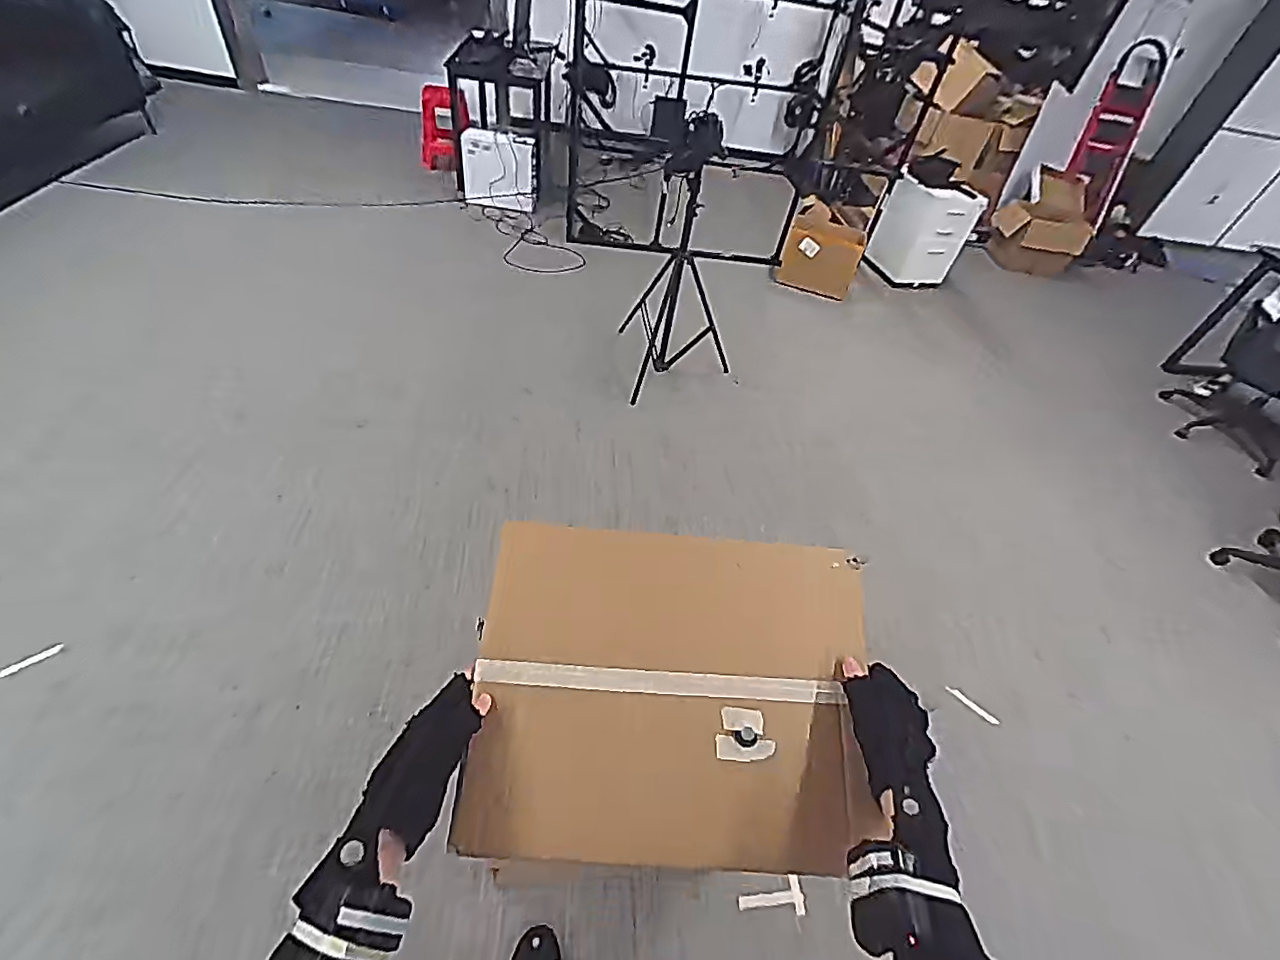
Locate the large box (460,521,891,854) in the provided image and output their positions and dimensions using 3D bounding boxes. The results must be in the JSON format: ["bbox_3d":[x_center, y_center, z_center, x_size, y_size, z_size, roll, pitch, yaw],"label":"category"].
[{"bbox_3d":[0.027,0.258,0.684,0.408,0.320,0.320,4,65,-4],"label":"large box"}]
